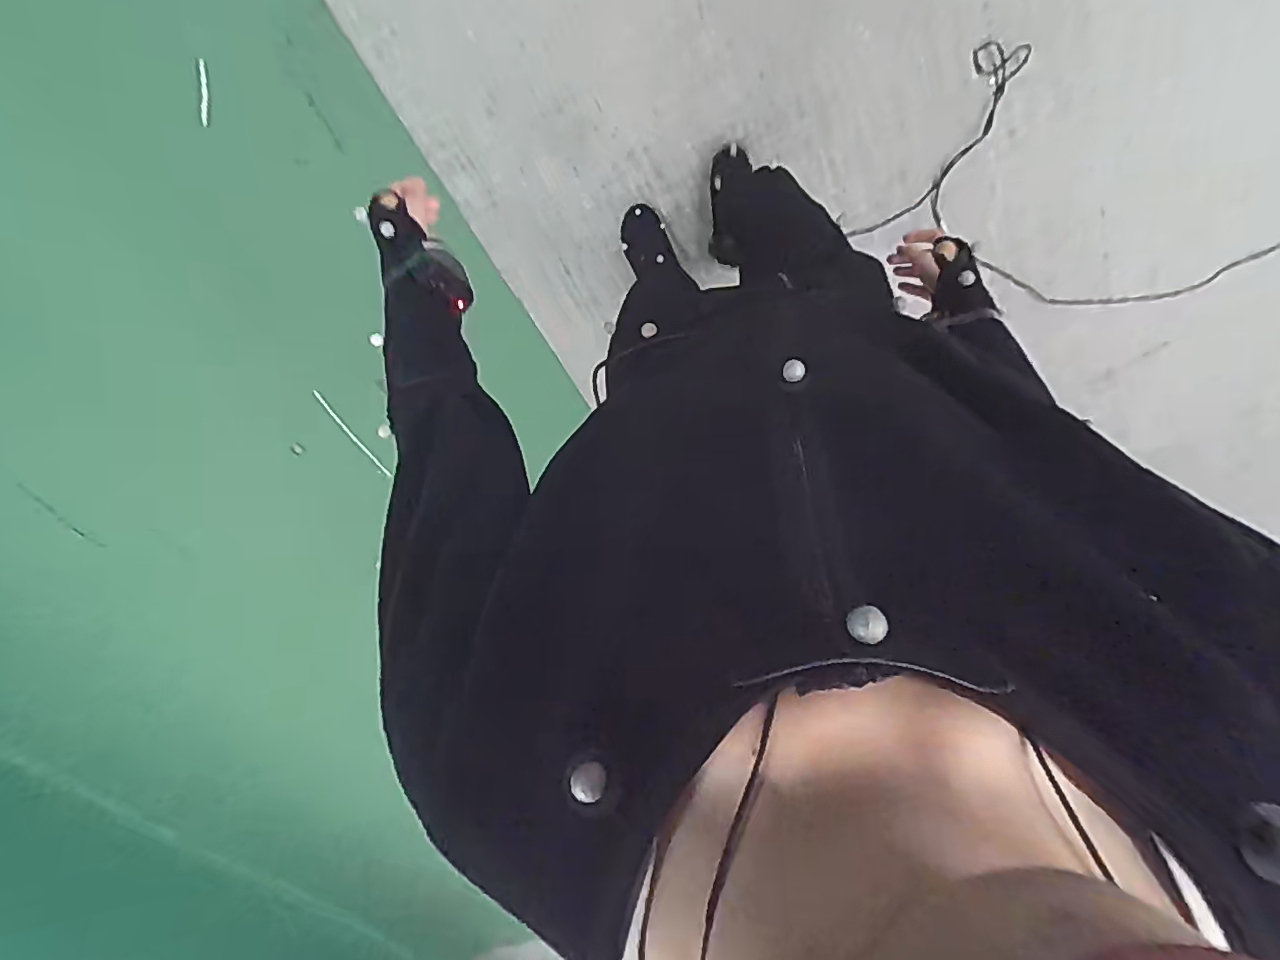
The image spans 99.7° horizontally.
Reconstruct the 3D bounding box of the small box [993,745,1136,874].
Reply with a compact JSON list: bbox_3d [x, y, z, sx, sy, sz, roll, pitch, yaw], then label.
[{"bbox_3d":[0.884,0.688,1.138,0.179,0.176,0.168,-21,121,13],"label":"small box"}]
